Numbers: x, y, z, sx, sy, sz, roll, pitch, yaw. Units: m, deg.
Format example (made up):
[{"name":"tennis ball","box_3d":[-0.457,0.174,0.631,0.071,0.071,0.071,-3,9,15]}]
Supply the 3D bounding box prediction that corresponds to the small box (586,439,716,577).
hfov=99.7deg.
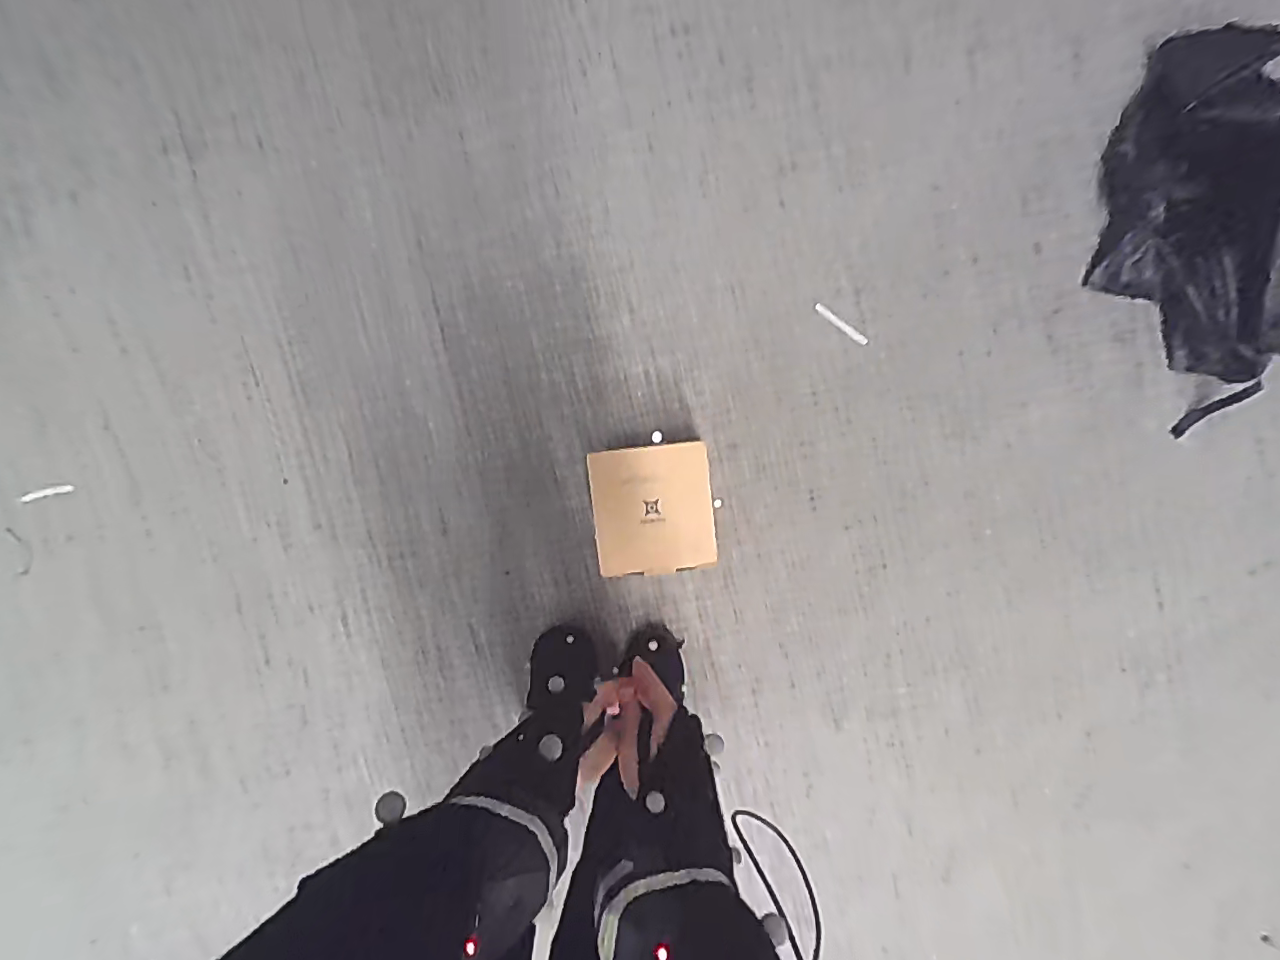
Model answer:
[{"name":"small box","box_3d":[0.021,0.034,0.814,0.168,0.176,0.179,-7,94,4]}]
